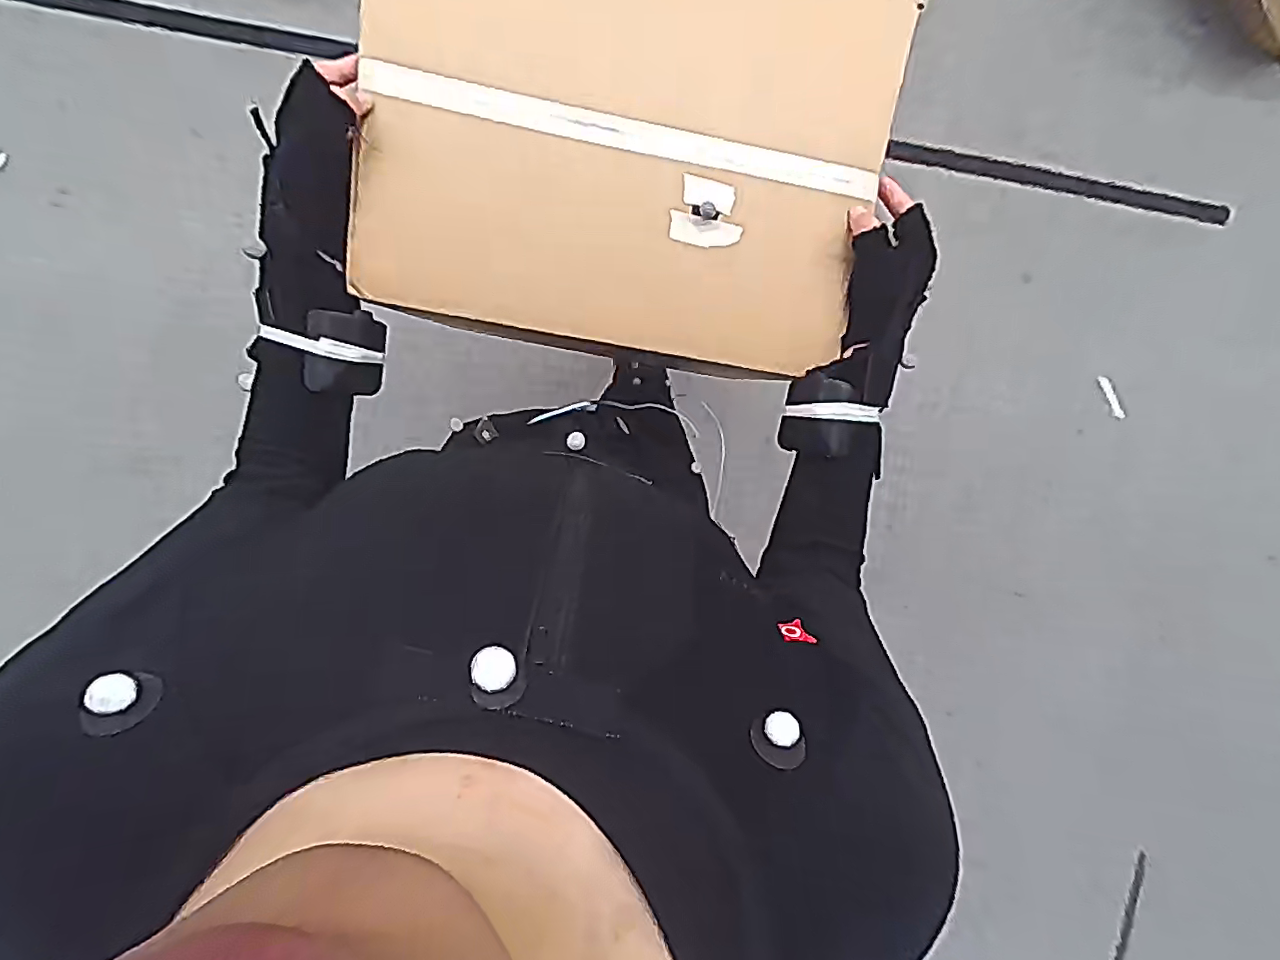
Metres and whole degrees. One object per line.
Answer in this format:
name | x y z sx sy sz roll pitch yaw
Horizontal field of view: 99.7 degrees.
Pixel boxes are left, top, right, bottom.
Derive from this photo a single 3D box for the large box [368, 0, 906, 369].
large box | -0.020 -0.302 0.577 0.408 0.320 0.320 8 102 -8
